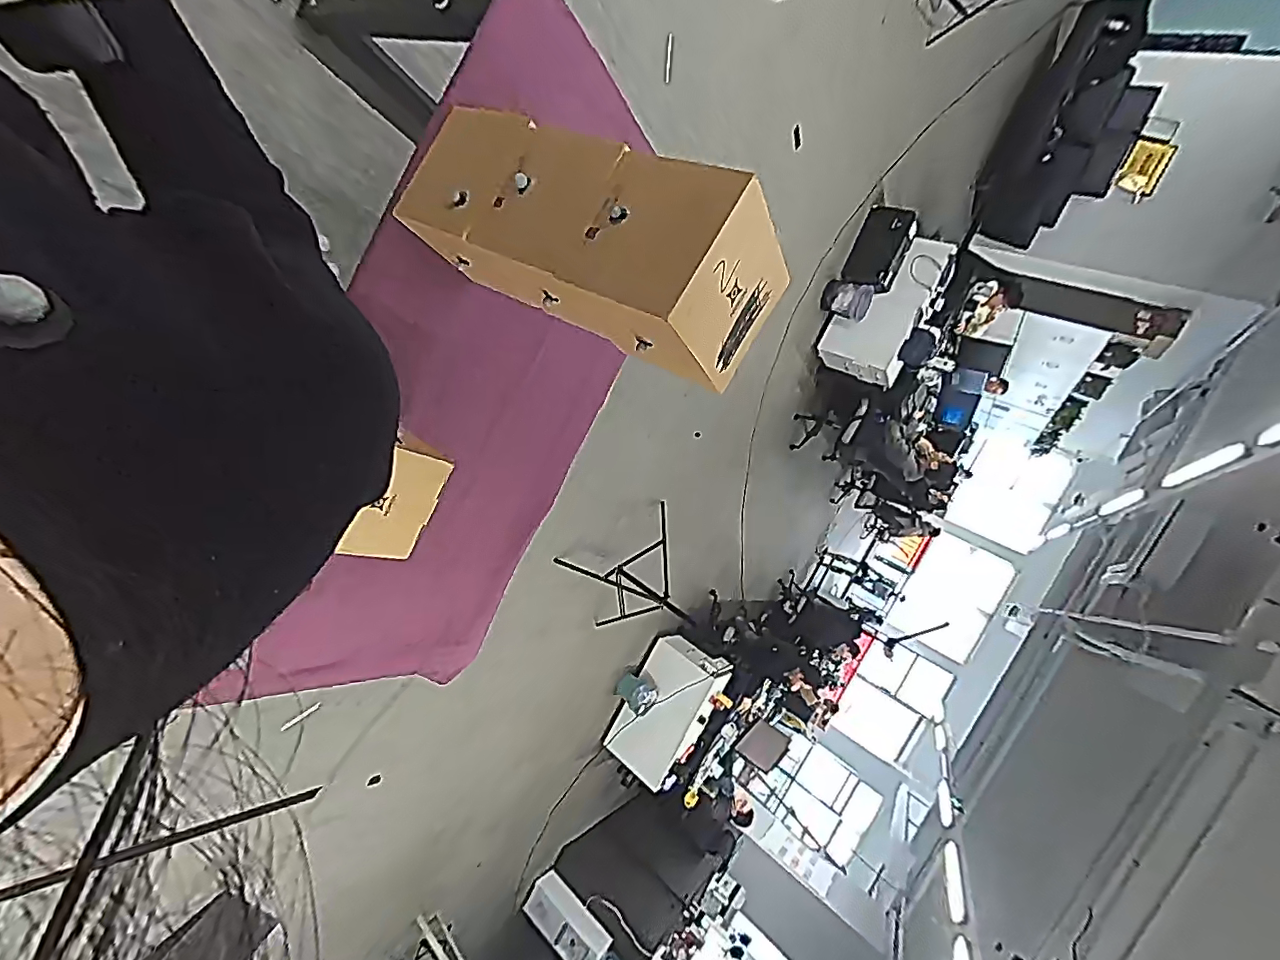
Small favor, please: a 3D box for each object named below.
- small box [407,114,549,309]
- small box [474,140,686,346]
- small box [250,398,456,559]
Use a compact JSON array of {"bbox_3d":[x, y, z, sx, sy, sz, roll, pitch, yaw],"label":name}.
[{"bbox_3d":[-0.200,-0.383,0.776,0.179,0.176,0.168,-60,151,-1],"label":"small box"},{"bbox_3d":[-0.074,-0.307,0.703,0.168,0.176,0.179,-60,150,0],"label":"small box"},{"bbox_3d":[-0.414,-0.001,0.786,0.179,0.176,0.168,23,94,-59],"label":"small box"}]
